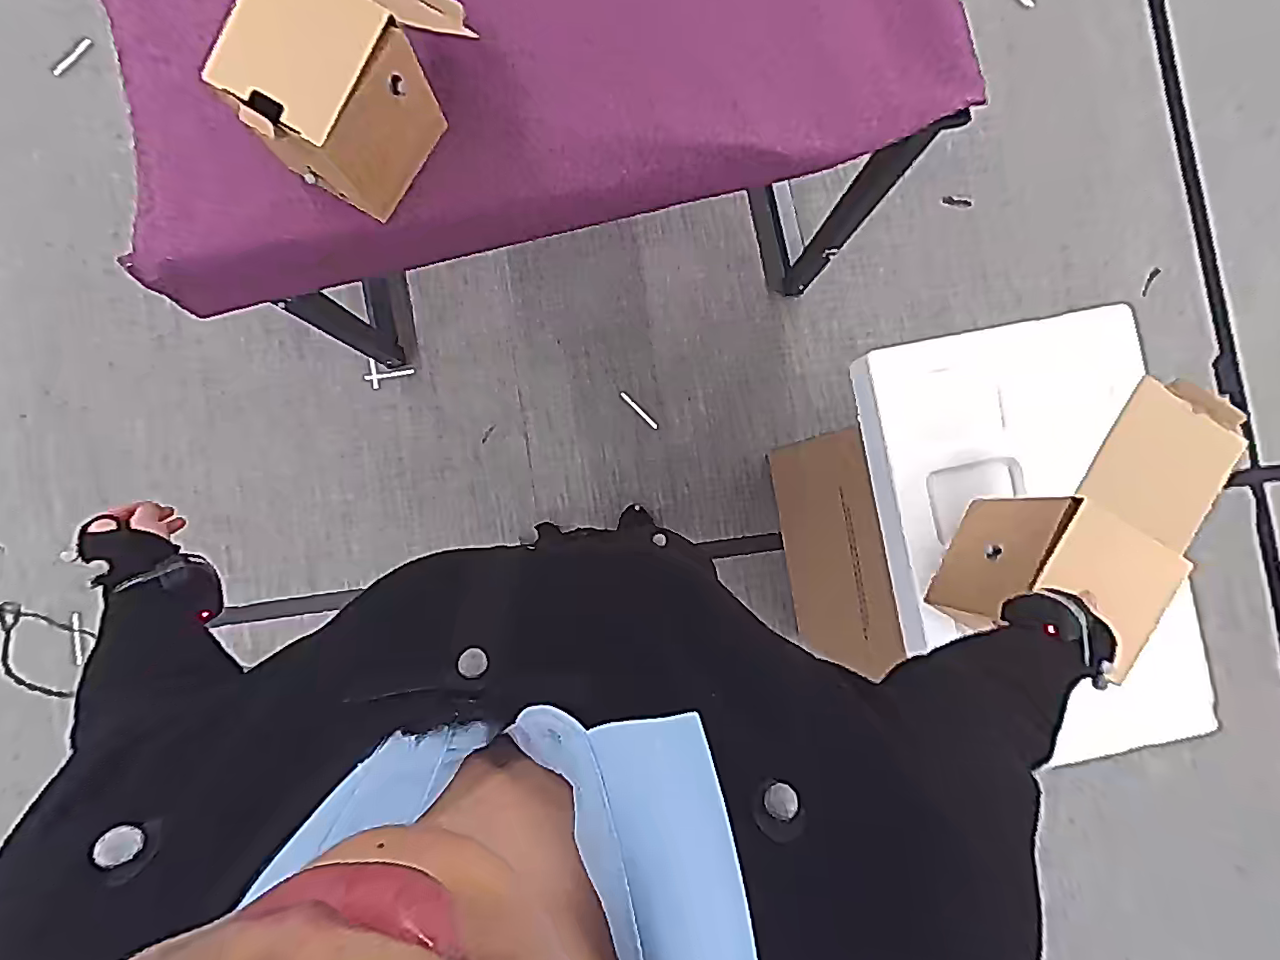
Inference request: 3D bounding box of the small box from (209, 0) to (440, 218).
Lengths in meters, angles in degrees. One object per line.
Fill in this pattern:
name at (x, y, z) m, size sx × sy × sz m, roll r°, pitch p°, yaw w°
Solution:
small box at (-0.389, -0.493, 0.708) m, size 0.168 × 0.176 × 0.179 m, roll 31°, pitch 87°, yaw 1°
